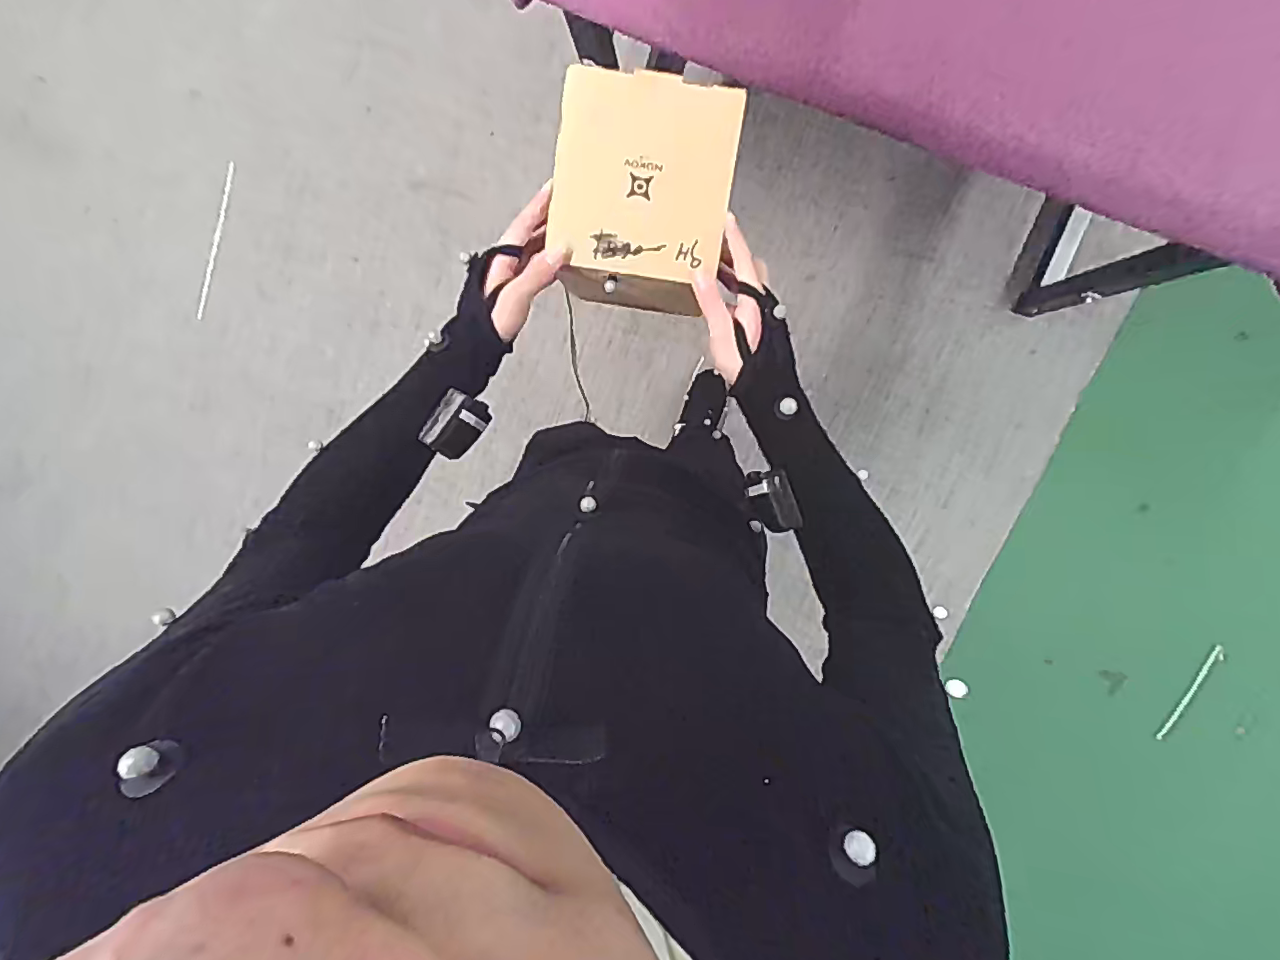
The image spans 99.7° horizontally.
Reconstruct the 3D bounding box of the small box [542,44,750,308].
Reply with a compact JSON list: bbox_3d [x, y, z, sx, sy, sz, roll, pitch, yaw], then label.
[{"bbox_3d":[0.006,-0.295,0.563,0.168,0.176,0.179,9,97,2],"label":"small box"}]
